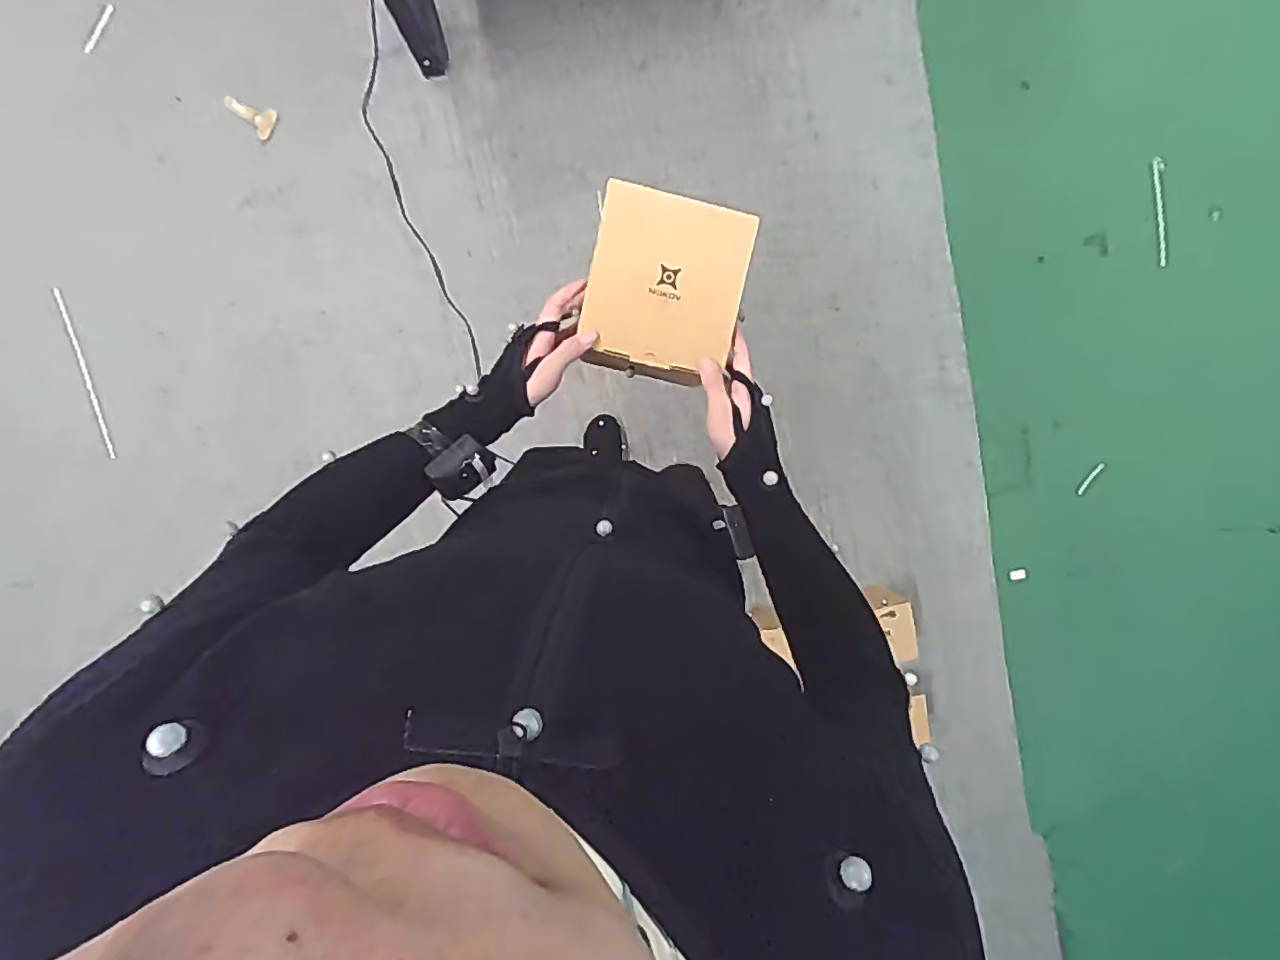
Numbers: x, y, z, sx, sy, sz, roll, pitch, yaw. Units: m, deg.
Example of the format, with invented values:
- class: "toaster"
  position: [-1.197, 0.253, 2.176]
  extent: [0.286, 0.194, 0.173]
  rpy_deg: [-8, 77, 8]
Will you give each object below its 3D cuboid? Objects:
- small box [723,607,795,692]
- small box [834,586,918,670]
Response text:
- class: "small box"
  position: [0.352, 0.503, 1.619]
  extent: [0.168, 0.176, 0.179]
  rpy_deg: [-10, 97, -1]
- class: "small box"
  position: [0.704, 0.441, 1.625]
  extent: [0.168, 0.176, 0.179]
  rpy_deg: [-11, 98, -1]
